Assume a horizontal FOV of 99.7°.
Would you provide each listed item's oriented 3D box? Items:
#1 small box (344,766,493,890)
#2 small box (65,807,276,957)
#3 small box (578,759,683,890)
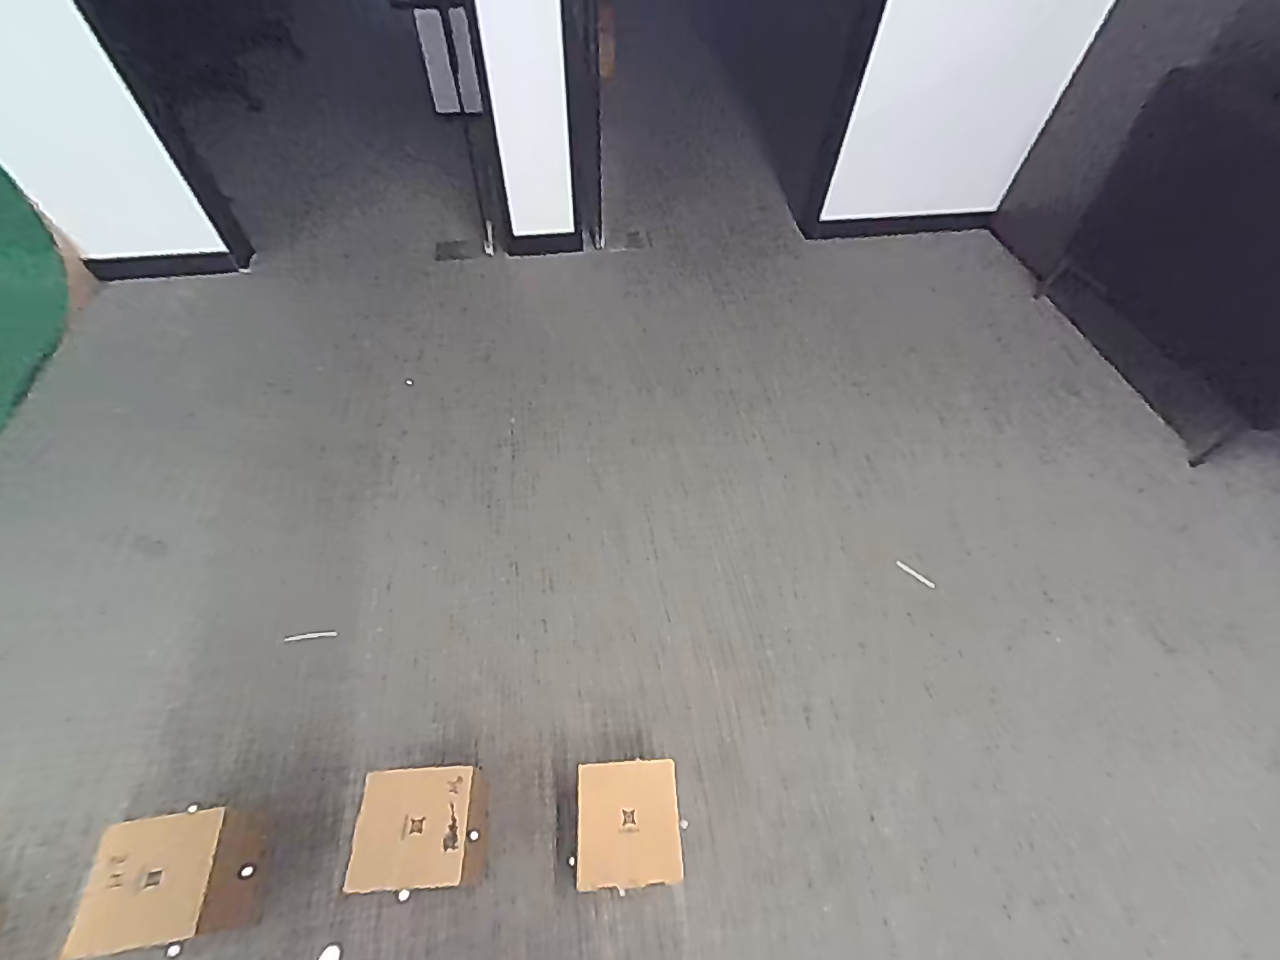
[{"bbox_3d":[-0.364,0.598,0.926,0.179,0.176,0.168,-1,54,-3],"label":"small box"},{"bbox_3d":[-0.733,0.642,0.874,0.179,0.176,0.168,-5,53,-7],"label":"small box"},{"bbox_3d":[-0.023,0.602,0.943,0.168,0.176,0.179,-1,54,-4],"label":"small box"}]
